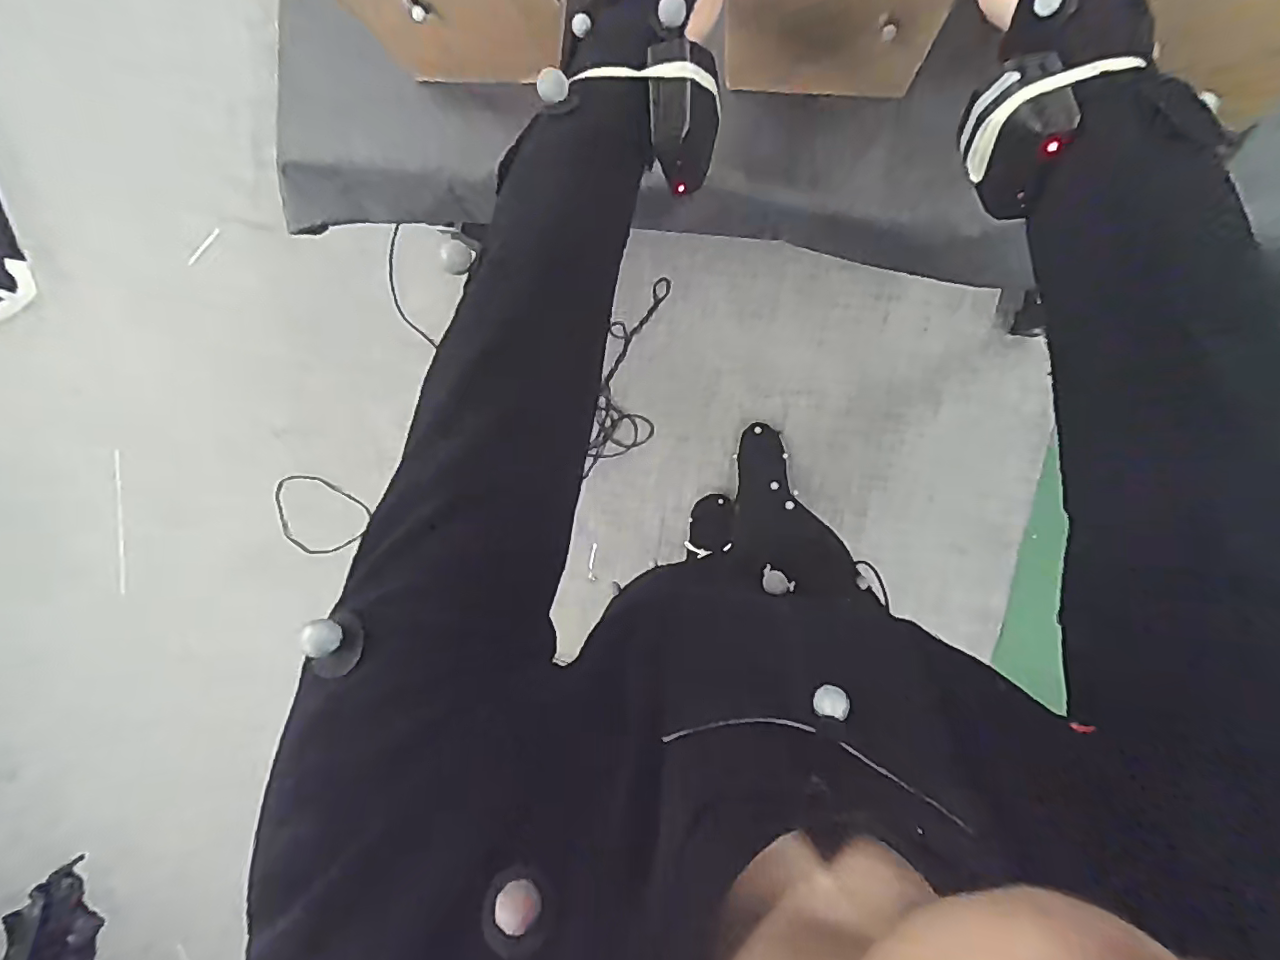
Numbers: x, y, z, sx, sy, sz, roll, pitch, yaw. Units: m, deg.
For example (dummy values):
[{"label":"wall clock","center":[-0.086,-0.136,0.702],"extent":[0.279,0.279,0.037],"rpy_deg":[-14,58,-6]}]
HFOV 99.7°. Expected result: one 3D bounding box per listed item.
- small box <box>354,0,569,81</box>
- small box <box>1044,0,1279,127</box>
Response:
[{"label":"small box","center":[-0.173,-0.508,0.504],"extent":[0.179,0.176,0.168],"rpy_deg":[8,100,8]},{"label":"small box","center":[0.452,-0.396,0.404],"extent":[0.179,0.176,0.168],"rpy_deg":[11,99,9]}]
